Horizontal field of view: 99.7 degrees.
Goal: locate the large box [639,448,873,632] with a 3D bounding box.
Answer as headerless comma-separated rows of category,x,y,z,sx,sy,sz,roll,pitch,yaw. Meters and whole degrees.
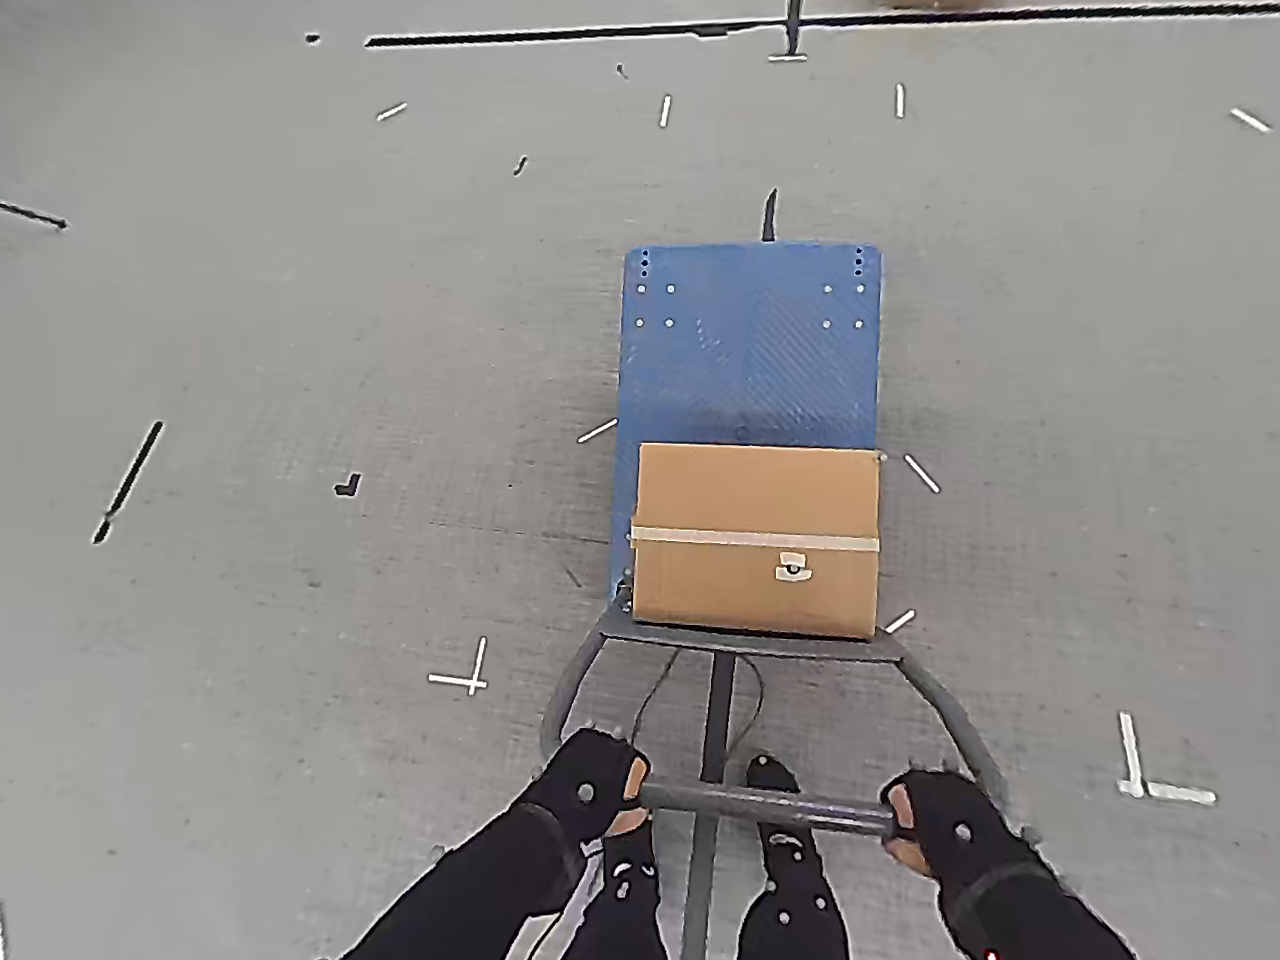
large box,0.212,0.109,1.084,0.408,0.320,0.320,2,88,7
